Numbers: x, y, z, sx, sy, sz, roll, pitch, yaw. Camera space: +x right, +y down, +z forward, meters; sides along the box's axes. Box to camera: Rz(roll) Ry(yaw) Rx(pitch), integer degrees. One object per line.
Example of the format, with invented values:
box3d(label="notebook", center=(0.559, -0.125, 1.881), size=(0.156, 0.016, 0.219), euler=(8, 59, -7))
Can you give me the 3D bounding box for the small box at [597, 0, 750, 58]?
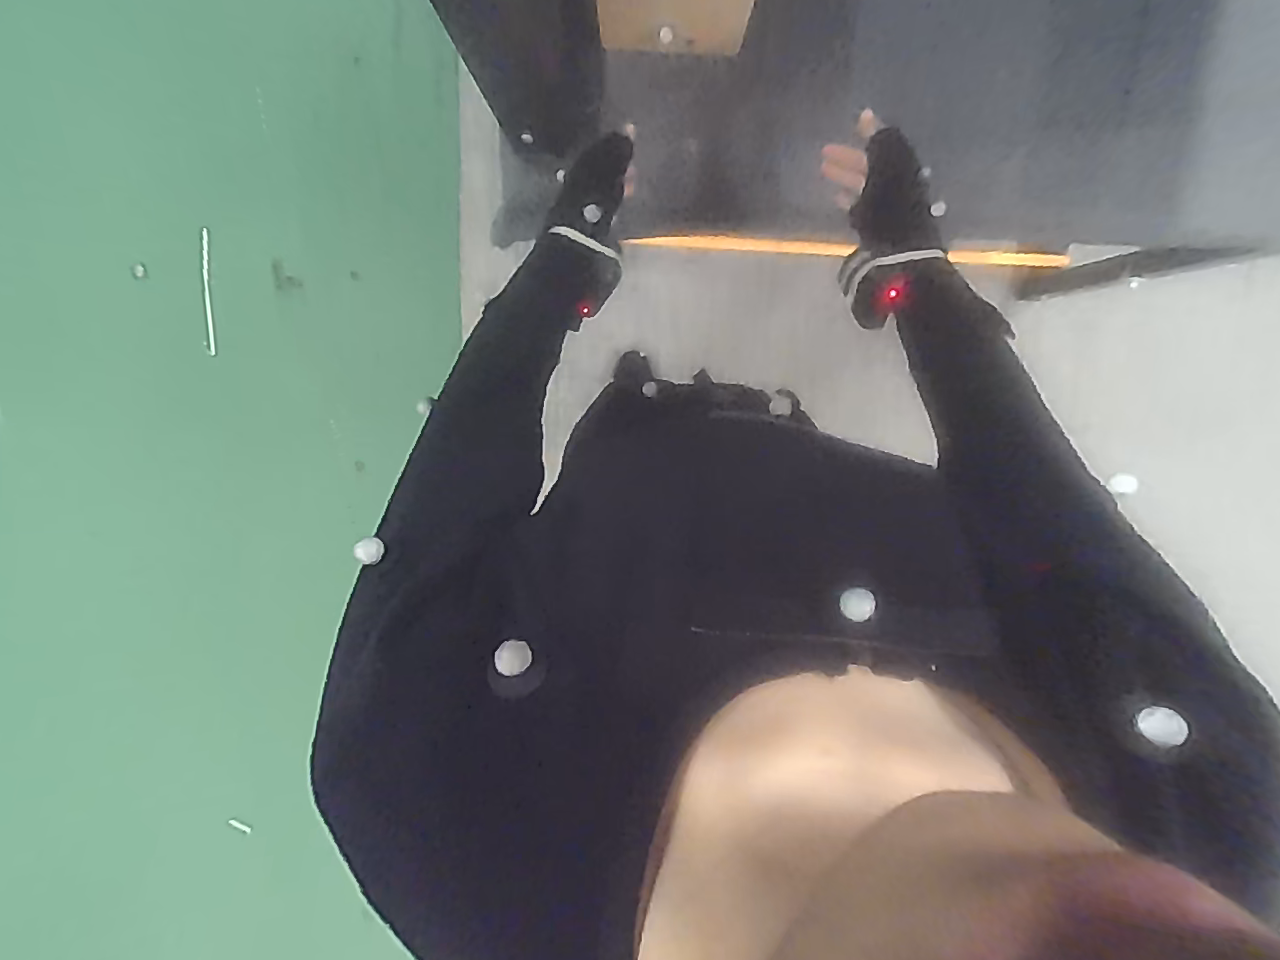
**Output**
box3d(label="small box", center=(0.038, -0.586, 0.557), size=(0.168, 0.176, 0.179), euler=(3, 101, -1))
